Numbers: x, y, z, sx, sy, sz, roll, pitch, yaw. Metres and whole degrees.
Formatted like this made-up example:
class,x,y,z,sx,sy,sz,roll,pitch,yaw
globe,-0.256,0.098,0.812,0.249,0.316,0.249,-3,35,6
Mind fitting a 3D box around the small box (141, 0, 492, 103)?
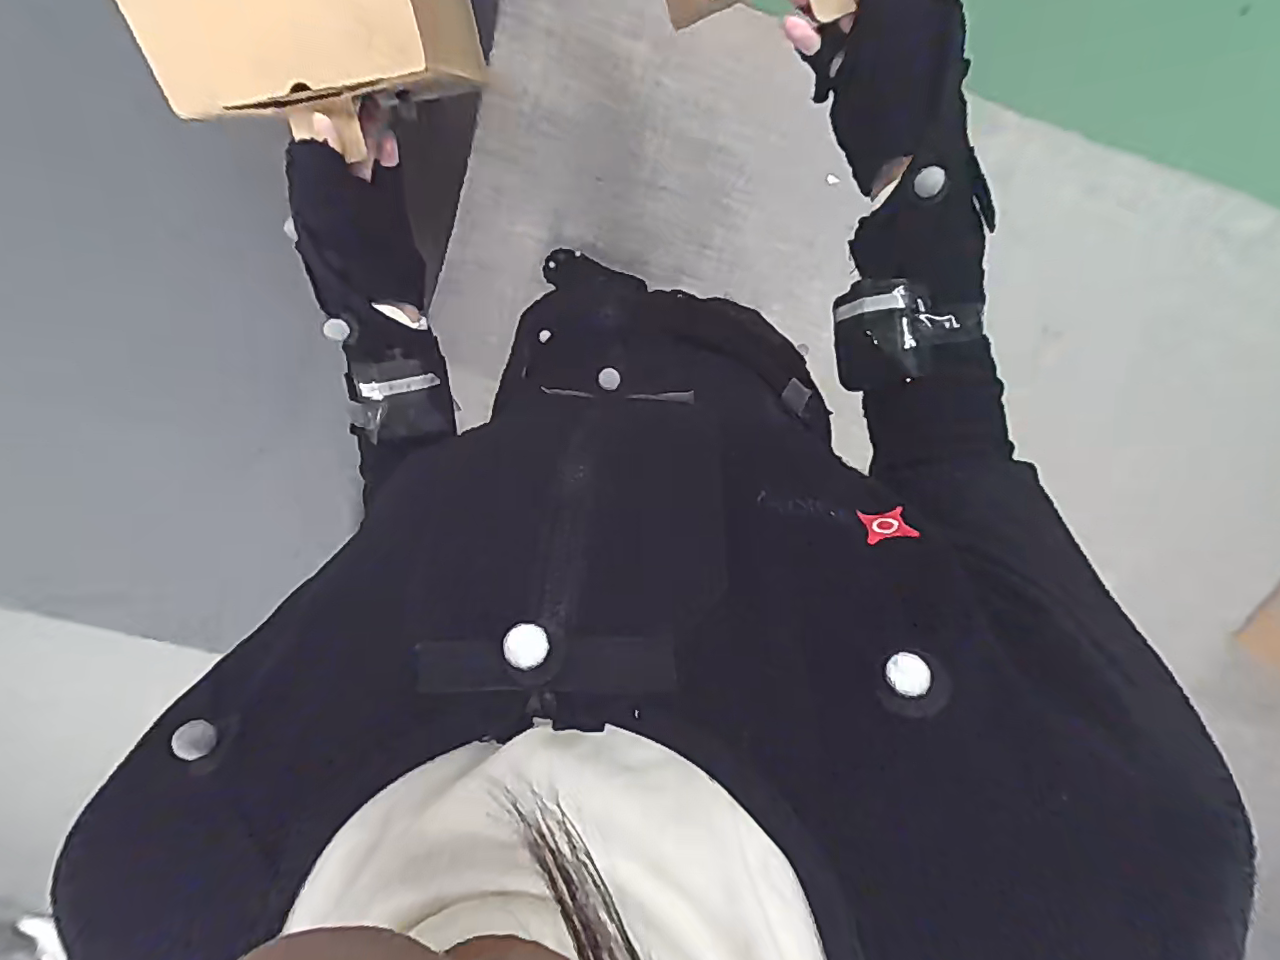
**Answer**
class,x,y,z,sx,sy,sz,roll,pitch,yaw
small box,-0.209,-0.359,0.348,0.168,0.176,0.179,-7,123,3
